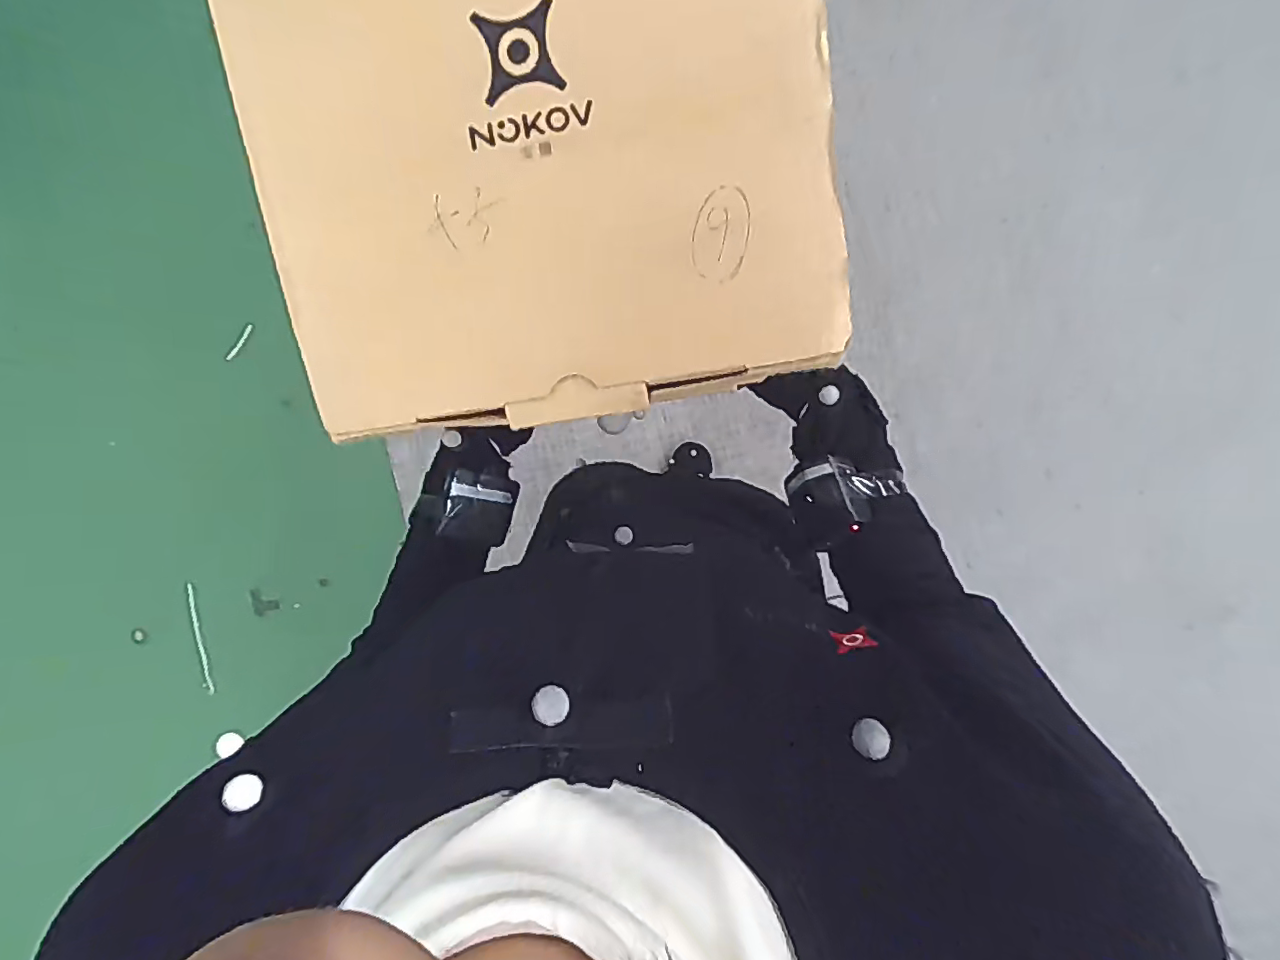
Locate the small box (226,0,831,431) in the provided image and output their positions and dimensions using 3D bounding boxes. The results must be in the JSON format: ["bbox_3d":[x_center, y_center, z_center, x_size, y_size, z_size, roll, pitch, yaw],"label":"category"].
[{"bbox_3d":[-0.026,-0.127,0.234,0.168,0.176,0.179,-8,101,6],"label":"small box"}]
